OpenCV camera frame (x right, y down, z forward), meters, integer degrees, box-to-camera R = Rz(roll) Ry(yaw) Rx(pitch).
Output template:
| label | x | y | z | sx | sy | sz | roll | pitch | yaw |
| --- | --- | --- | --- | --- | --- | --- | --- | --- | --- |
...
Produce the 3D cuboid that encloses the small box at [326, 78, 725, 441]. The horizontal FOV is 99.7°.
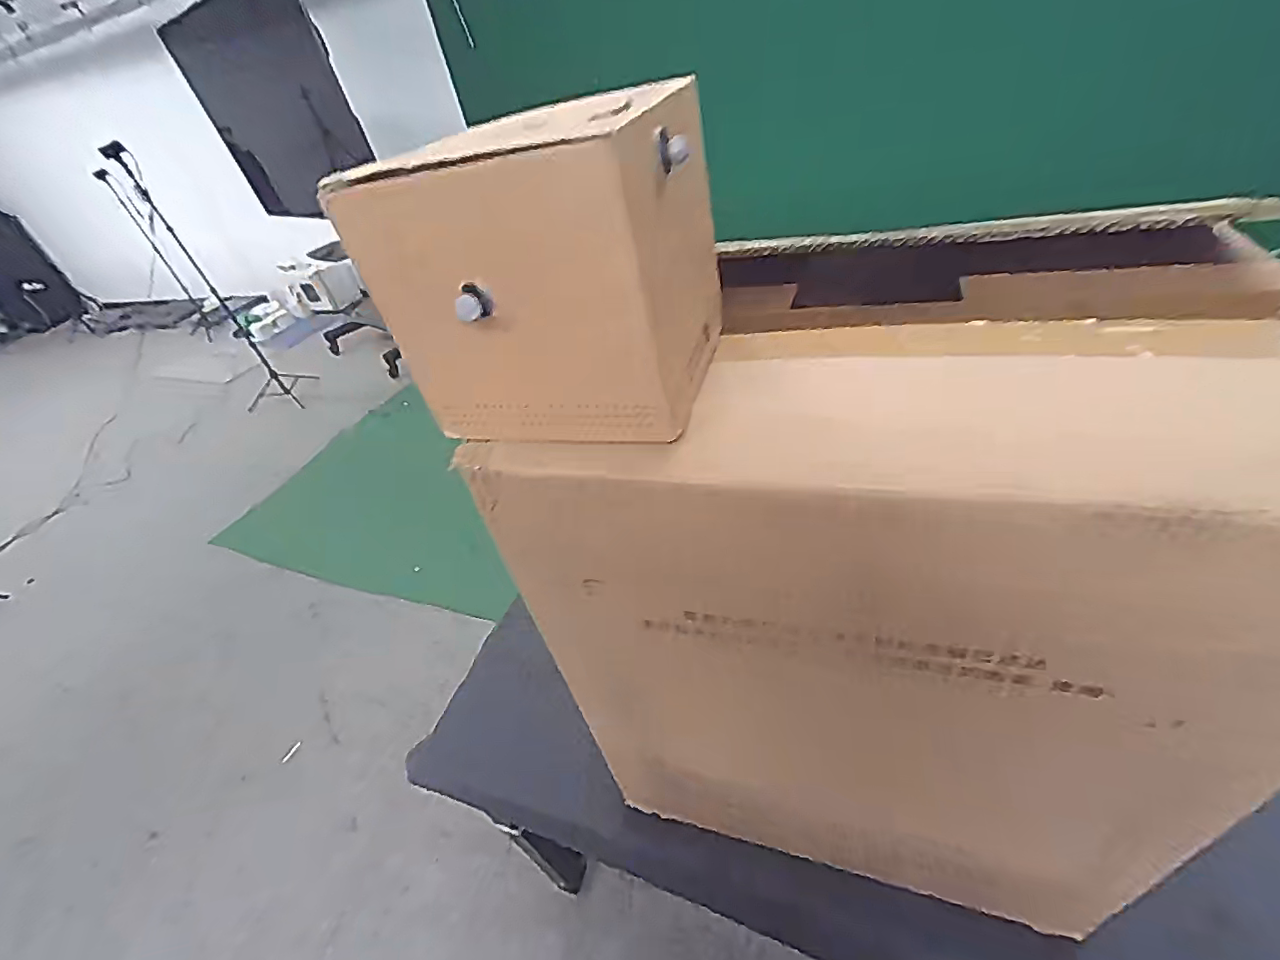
| label | x | y | z | sx | sy | sz | roll | pitch | yaw |
| --- | --- | --- | --- | --- | --- | --- | --- | --- | --- |
| small box | -0.050 | -0.139 | 0.364 | 0.179 | 0.176 | 0.168 | 2 | 43 | 21 |
